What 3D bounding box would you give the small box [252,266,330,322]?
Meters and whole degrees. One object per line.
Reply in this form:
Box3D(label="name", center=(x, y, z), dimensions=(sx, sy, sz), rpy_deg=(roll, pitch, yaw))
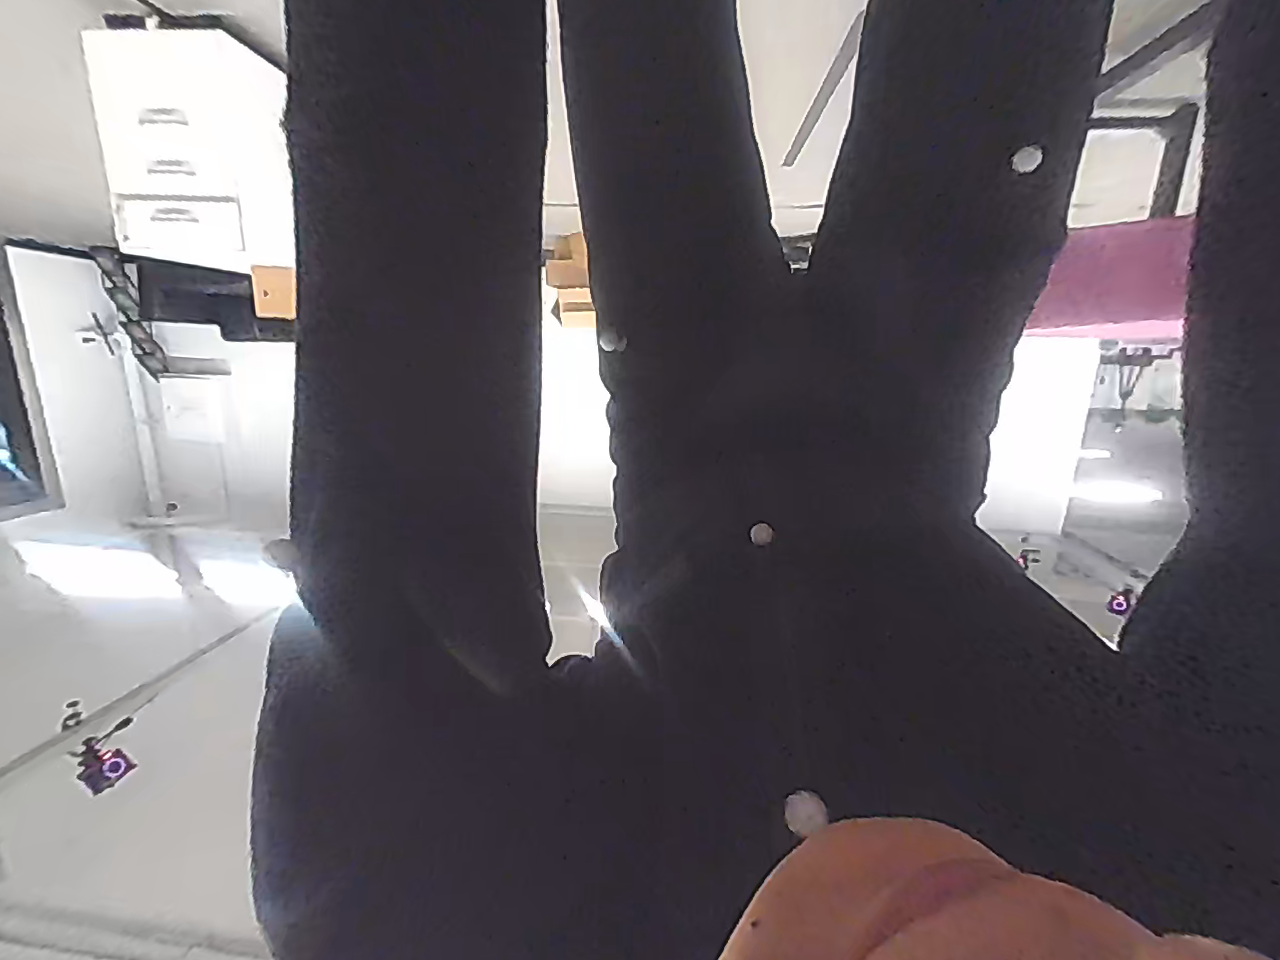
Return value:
Box3D(label="small box", center=(-1.225, -0.652, 1.898), dimensions=(0.179, 0.176, 0.168), rpy_deg=(3, -166, 2))
